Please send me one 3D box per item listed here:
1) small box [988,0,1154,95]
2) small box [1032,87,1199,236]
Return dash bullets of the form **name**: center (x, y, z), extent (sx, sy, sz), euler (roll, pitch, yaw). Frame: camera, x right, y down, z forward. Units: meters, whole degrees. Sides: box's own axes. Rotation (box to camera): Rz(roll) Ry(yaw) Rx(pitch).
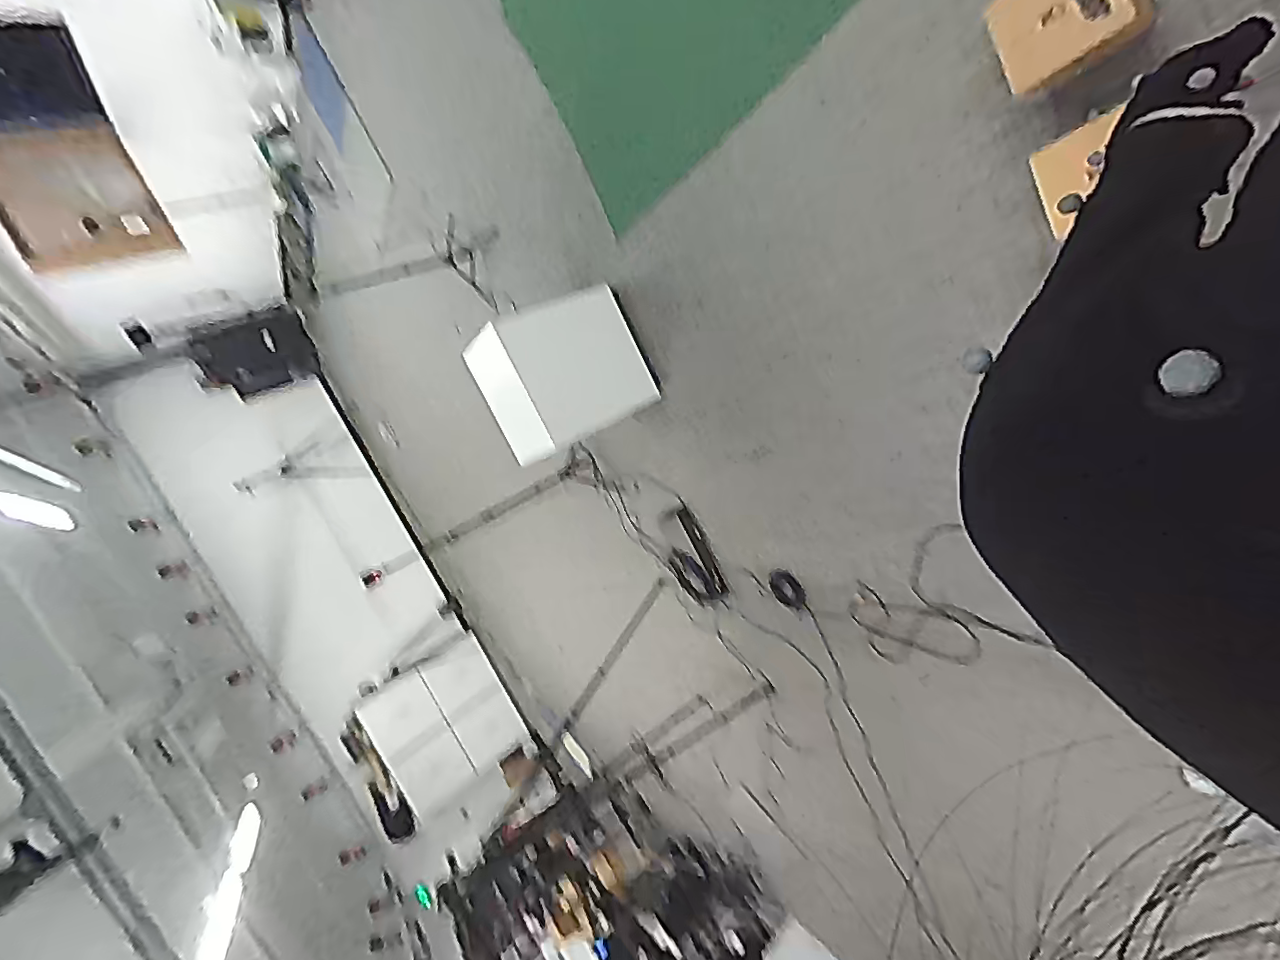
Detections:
- **small box**: center (0.757, -0.819, 0.945), extent (0.179, 0.176, 0.168), euler (-15, 103, 58)
- **small box**: center (0.869, -0.578, 0.989), extent (0.179, 0.176, 0.168), euler (-14, 104, 57)
